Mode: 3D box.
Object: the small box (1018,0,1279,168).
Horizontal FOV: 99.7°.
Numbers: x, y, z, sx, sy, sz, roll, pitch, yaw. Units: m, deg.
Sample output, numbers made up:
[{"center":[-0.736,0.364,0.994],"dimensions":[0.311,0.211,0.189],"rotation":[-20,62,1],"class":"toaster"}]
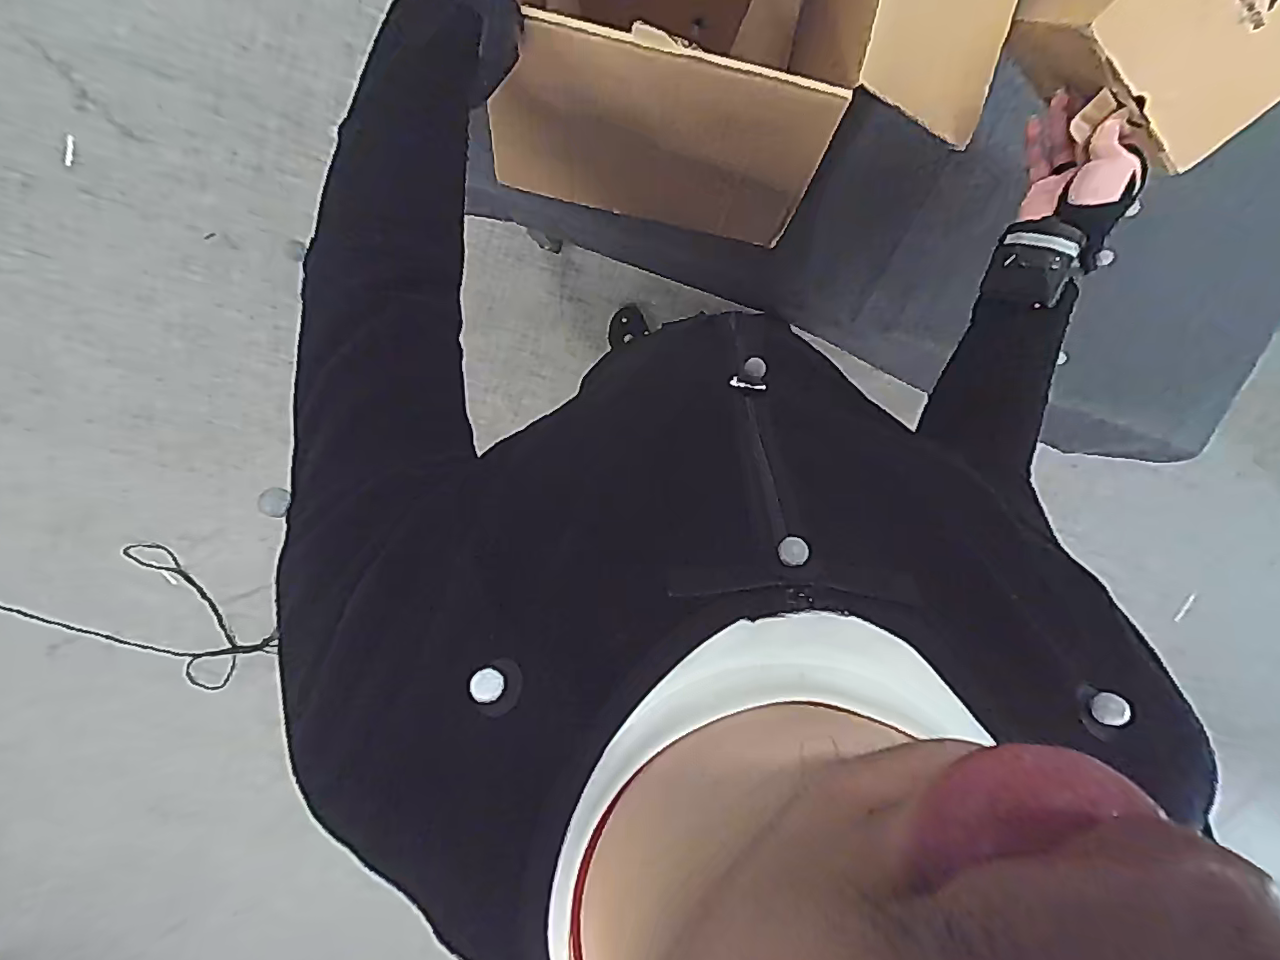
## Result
[{"center":[0.456,-0.407,0.447],"dimensions":[0.168,0.176,0.179],"rotation":[31,128,-21],"class":"small box"}]
